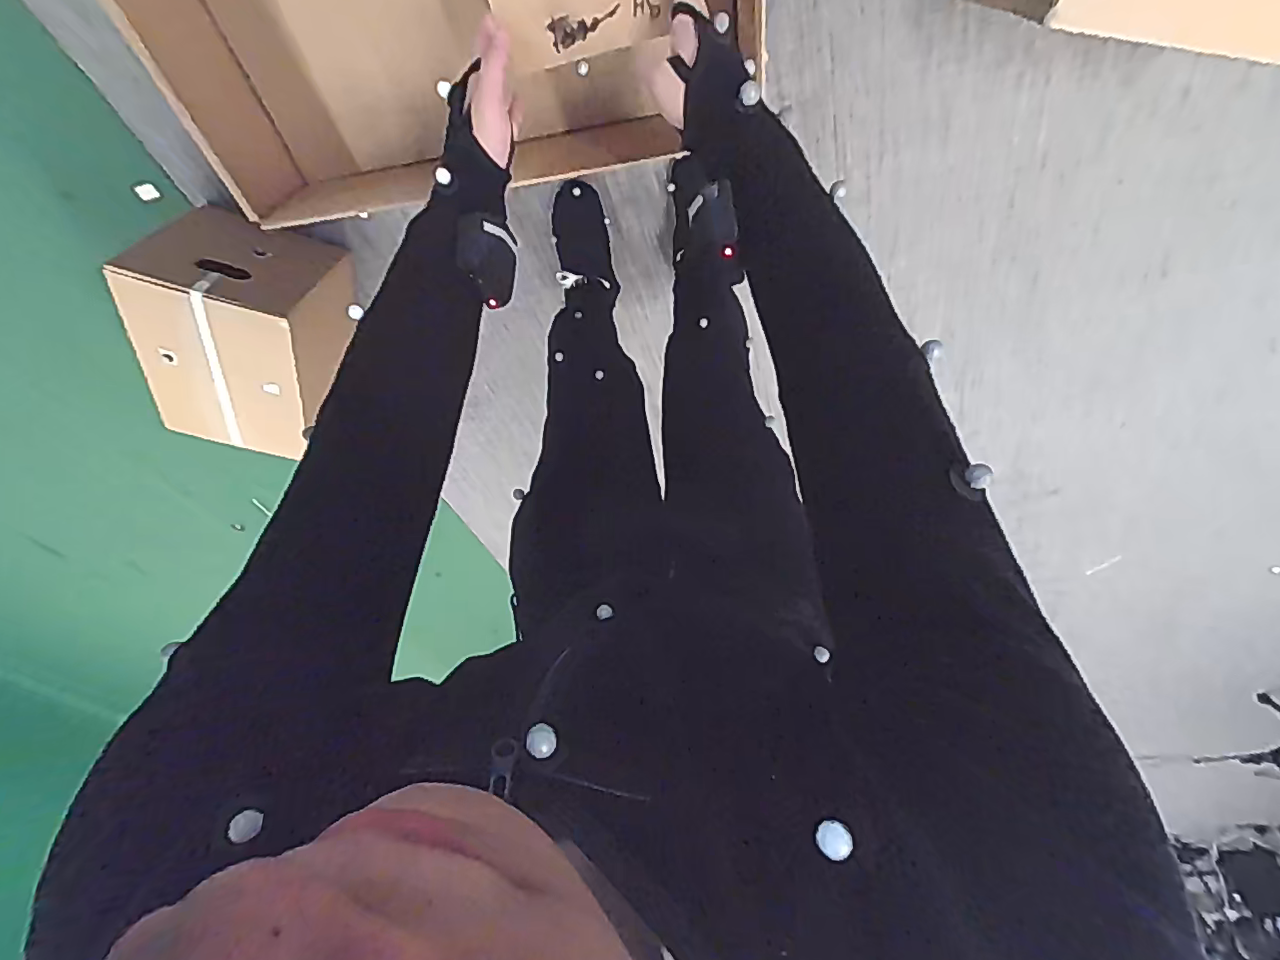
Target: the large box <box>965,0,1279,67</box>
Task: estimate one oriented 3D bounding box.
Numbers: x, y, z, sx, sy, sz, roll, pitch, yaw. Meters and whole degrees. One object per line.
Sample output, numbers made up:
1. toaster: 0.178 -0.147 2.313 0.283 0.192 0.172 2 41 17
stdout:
1. large box: 0.732 -0.776 0.699 0.408 0.320 0.320 6 136 -3
